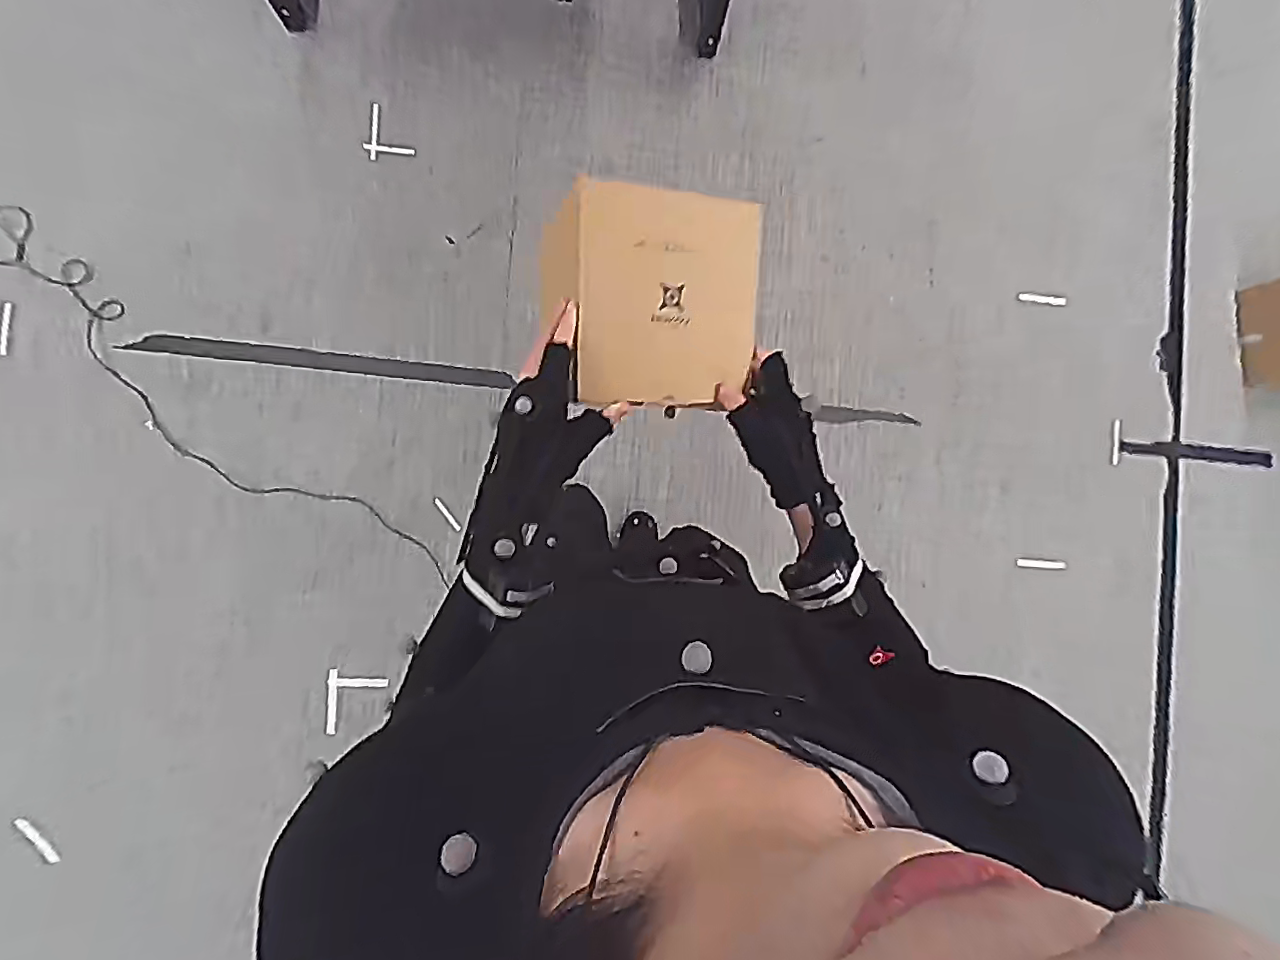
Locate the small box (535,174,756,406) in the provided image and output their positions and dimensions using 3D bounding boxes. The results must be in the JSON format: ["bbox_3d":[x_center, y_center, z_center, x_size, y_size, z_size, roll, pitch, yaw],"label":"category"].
[{"bbox_3d":[-0.005,-0.163,0.527,0.168,0.176,0.179,-3,99,-21],"label":"small box"}]
